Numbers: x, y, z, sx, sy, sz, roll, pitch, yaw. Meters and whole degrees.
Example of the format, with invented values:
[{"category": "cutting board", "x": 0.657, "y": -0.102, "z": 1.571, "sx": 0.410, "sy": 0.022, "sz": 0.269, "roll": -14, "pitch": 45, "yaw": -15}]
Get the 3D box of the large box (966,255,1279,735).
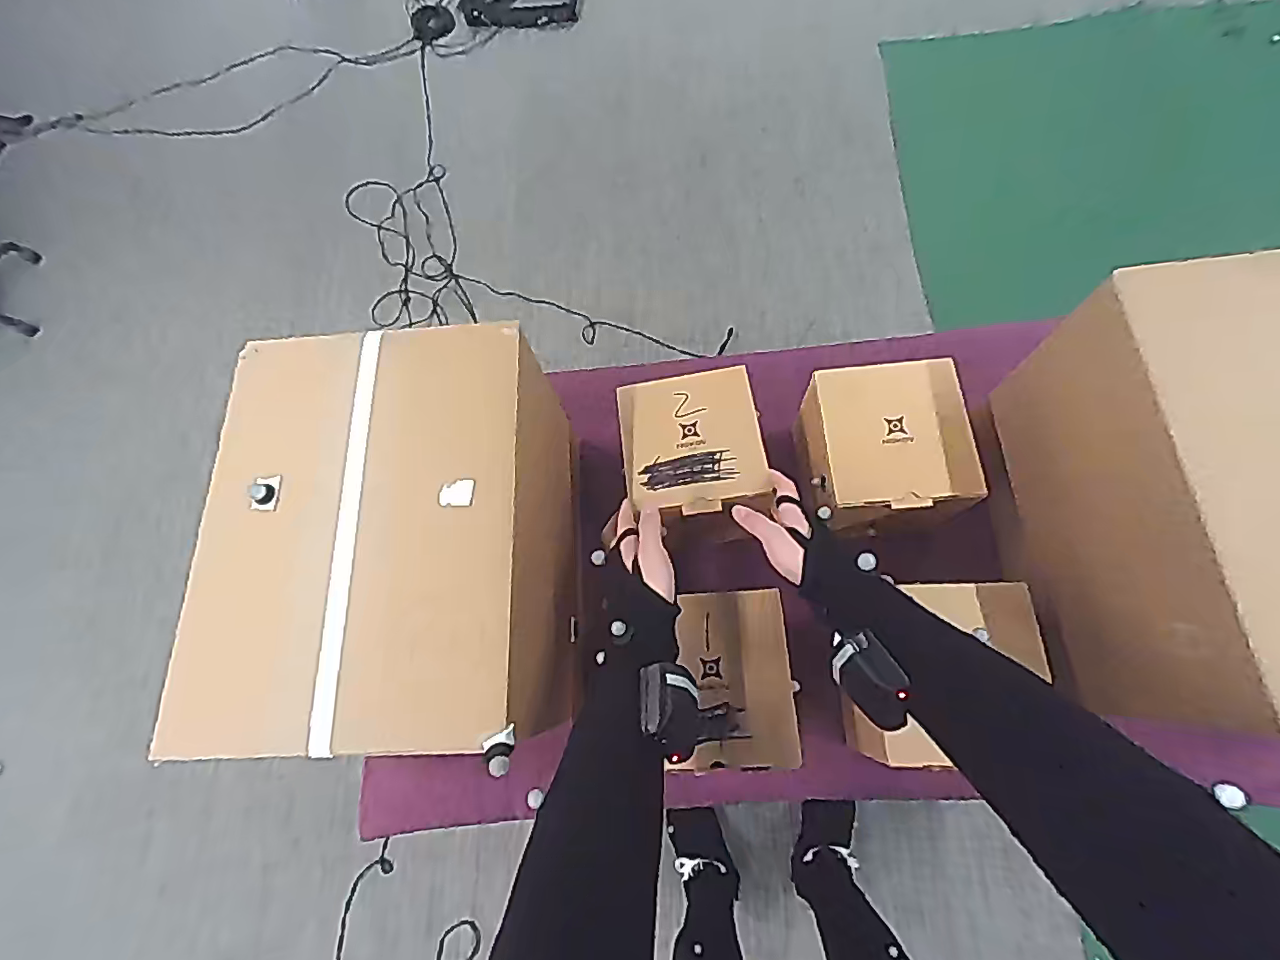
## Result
[{"category": "large box", "x": 0.613, "y": 0.029, "z": 0.571, "sx": 0.320, "sy": 0.320, "sz": 0.408, "roll": -4, "pitch": 71, "yaw": 6}]
